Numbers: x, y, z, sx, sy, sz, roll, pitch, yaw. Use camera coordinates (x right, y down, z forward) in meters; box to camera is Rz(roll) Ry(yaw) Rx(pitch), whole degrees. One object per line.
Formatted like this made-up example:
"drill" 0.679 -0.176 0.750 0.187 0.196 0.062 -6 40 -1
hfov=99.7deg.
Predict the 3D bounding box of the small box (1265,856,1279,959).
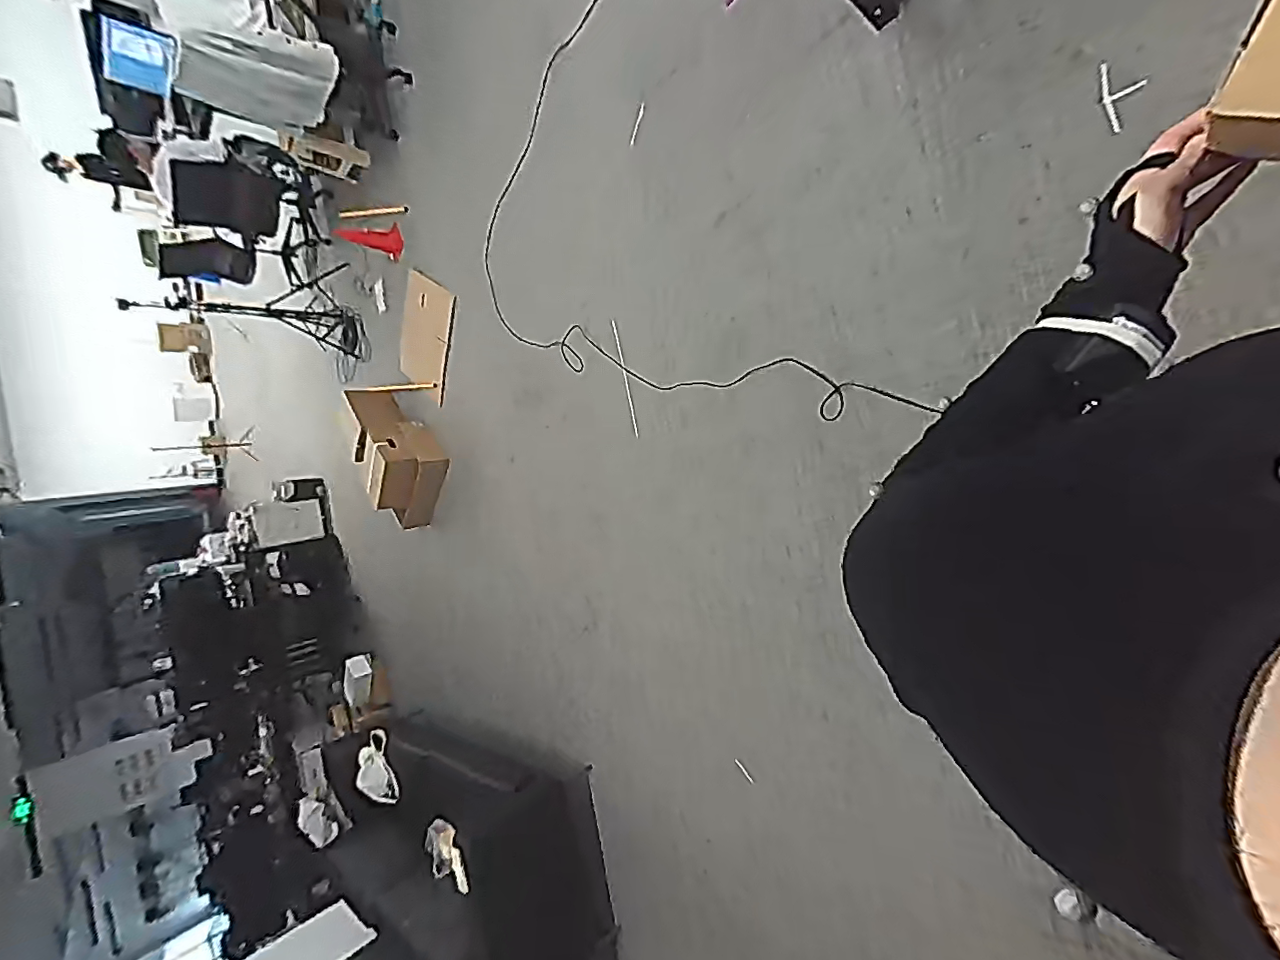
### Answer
"small box" 0.876 0.608 0.640 0.168 0.176 0.179 0 99 45

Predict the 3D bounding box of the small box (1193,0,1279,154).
"small box" 0.445 -0.269 0.278 0.179 0.176 0.168 31 126 34
